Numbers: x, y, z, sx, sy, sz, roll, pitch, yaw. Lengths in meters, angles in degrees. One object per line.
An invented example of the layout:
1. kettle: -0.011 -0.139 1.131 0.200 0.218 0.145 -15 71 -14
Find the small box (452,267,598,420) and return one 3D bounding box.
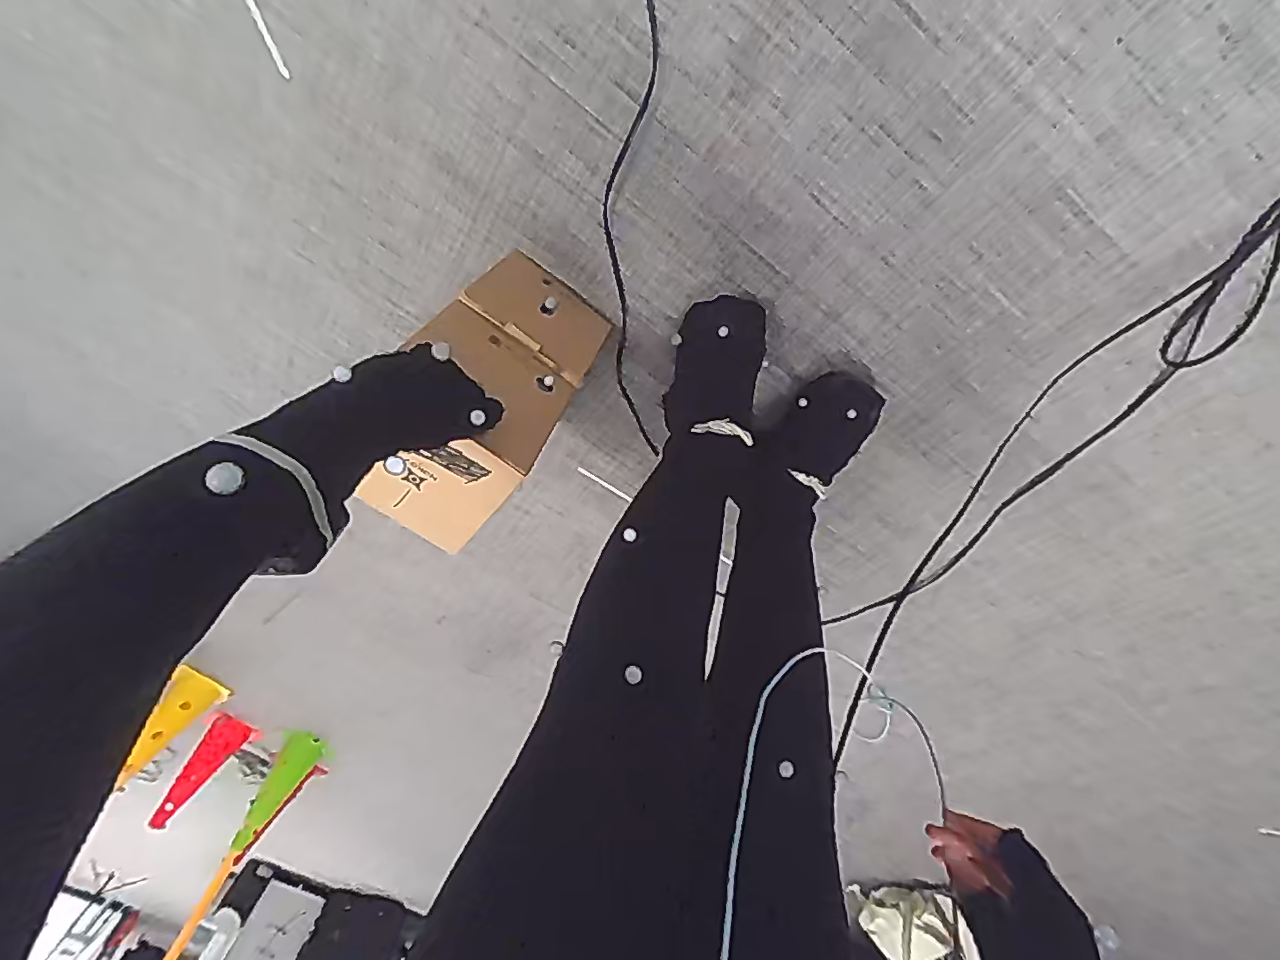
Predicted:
1. small box: -0.173 -0.151 0.725 0.168 0.176 0.179 36 127 -16

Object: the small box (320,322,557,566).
1. small box: -0.212 -0.042 0.606 0.168 0.176 0.179 37 129 -16
